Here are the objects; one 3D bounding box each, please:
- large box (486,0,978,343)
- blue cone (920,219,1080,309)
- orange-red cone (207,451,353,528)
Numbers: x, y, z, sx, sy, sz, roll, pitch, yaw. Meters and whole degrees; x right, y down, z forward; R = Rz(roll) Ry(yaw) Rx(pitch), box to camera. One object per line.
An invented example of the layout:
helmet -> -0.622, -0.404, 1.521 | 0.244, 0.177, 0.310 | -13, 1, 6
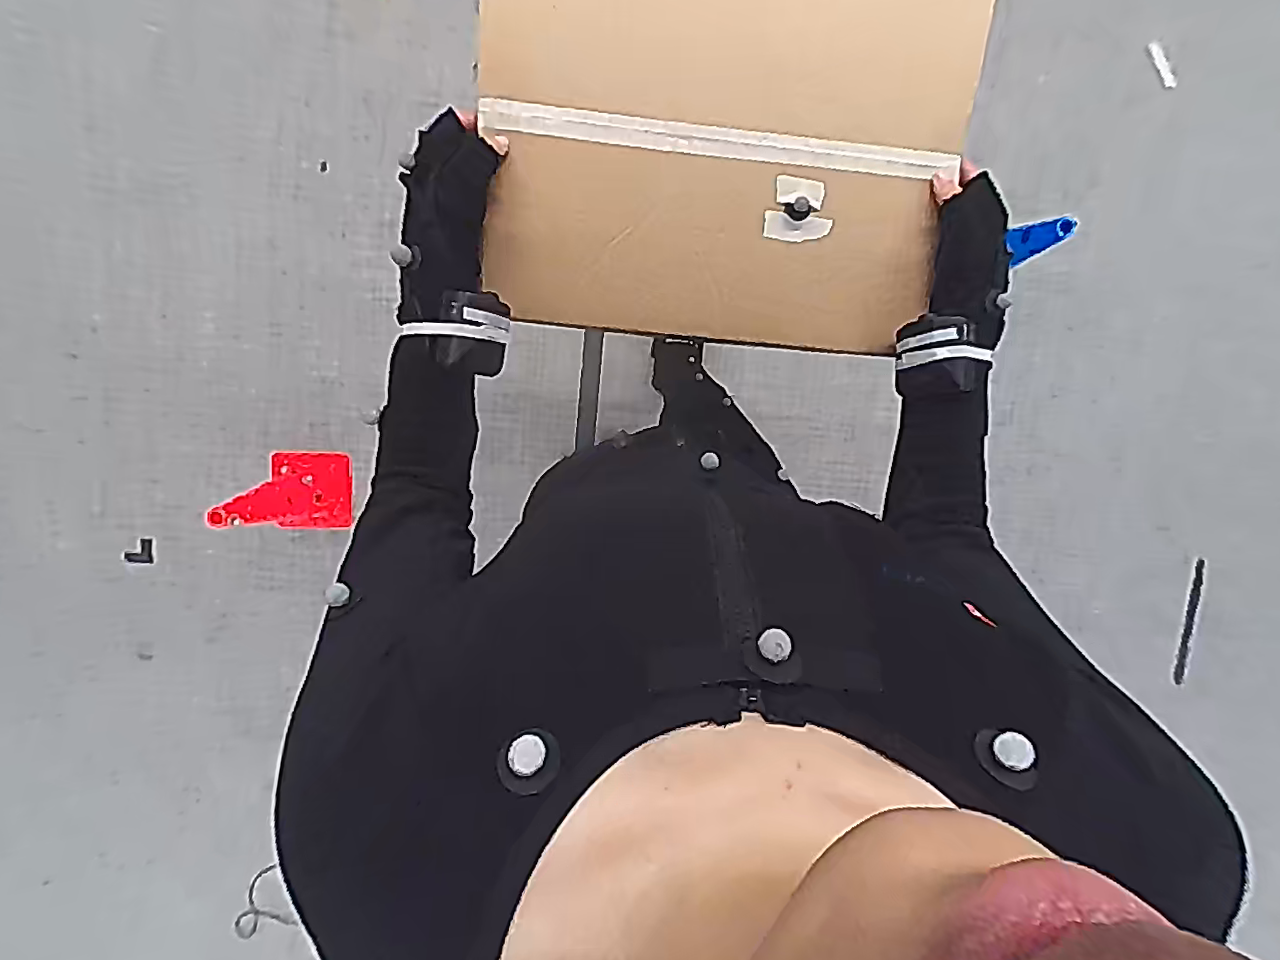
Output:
large box -> 0.061, -0.326, 0.602 | 0.408, 0.320, 0.320 | 4, 105, -5
blue cone -> 0.847, -0.536, 1.273 | 0.192, 0.380, 0.193 | 7, 98, -5
orange-red cone -> -0.842, 0.054, 1.239 | 0.198, 0.360, 0.199 | 2, 99, -3
